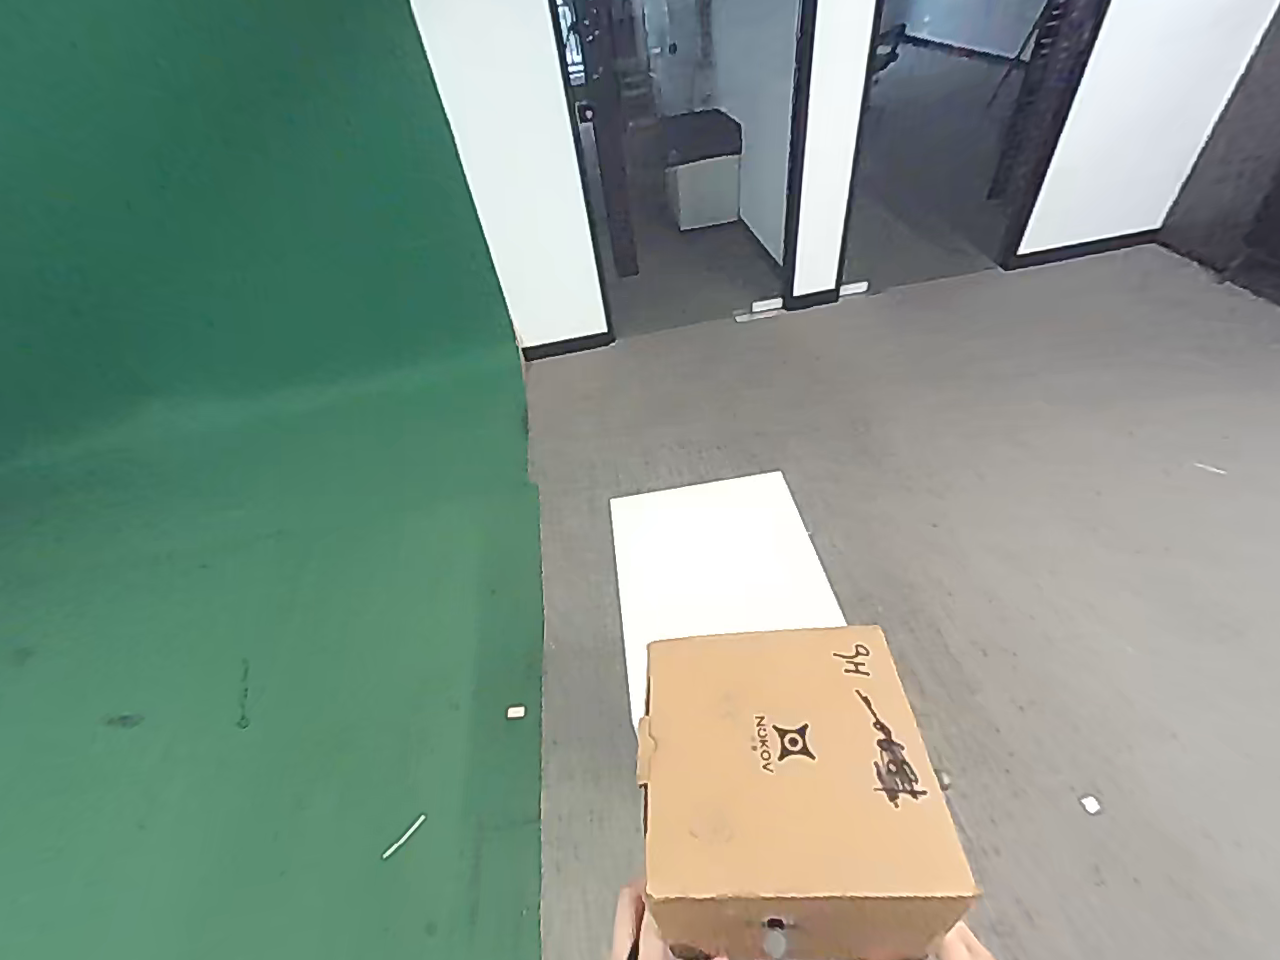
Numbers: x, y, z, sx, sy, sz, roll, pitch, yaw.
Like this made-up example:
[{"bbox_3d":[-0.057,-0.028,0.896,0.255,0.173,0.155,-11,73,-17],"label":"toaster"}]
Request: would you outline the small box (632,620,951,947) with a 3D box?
[{"bbox_3d":[0.097,0.228,0.405,0.179,0.176,0.168,-6,40,7],"label":"small box"}]
